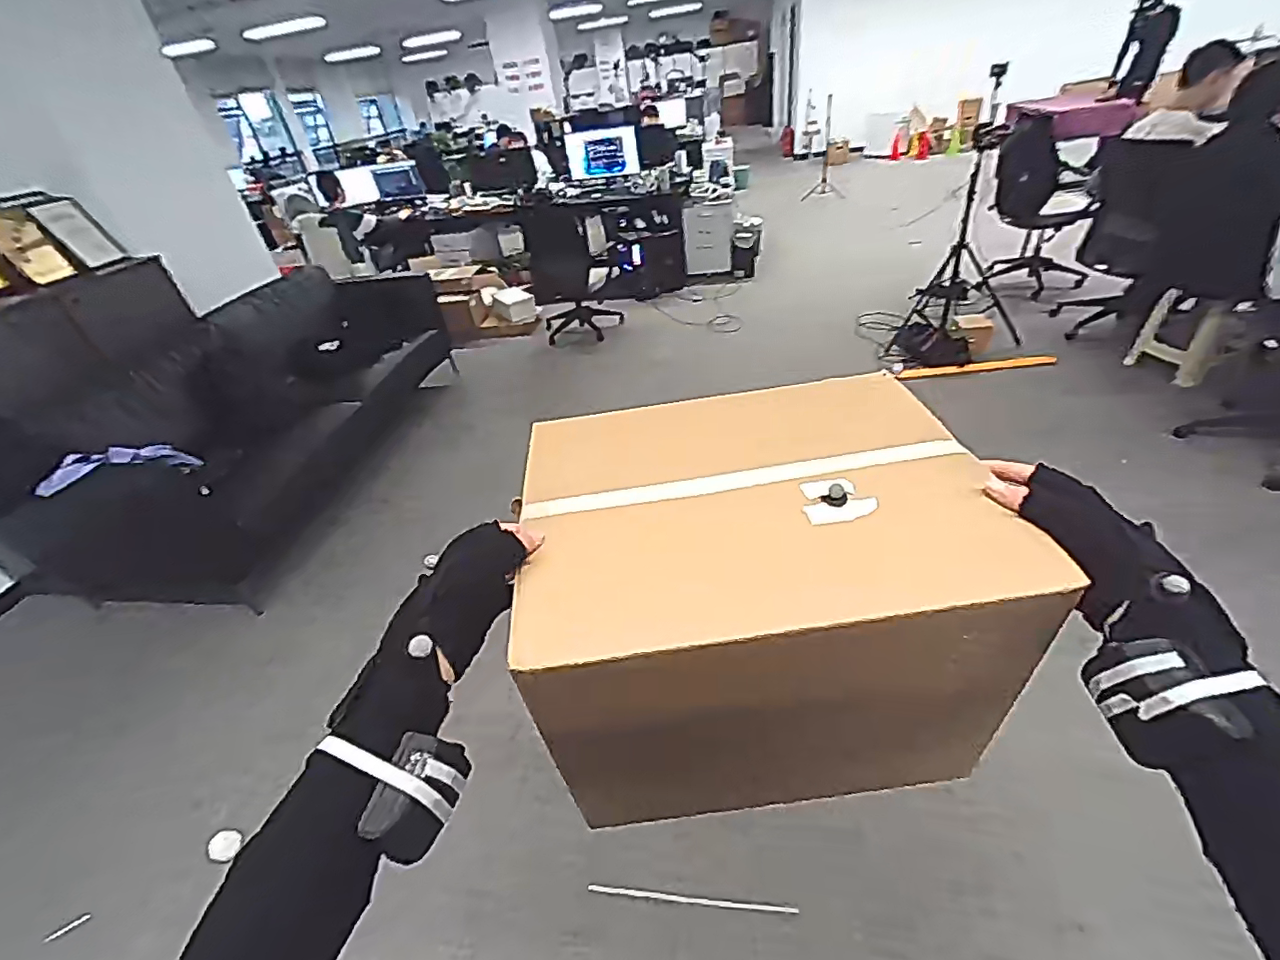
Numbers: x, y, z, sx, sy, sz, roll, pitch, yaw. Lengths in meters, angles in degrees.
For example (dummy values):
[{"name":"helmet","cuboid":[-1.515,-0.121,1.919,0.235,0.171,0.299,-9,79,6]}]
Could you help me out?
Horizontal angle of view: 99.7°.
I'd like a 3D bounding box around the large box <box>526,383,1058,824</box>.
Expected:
[{"name":"large box","cuboid":[0.111,0.127,0.596,0.408,0.320,0.320,-9,39,0]}]
